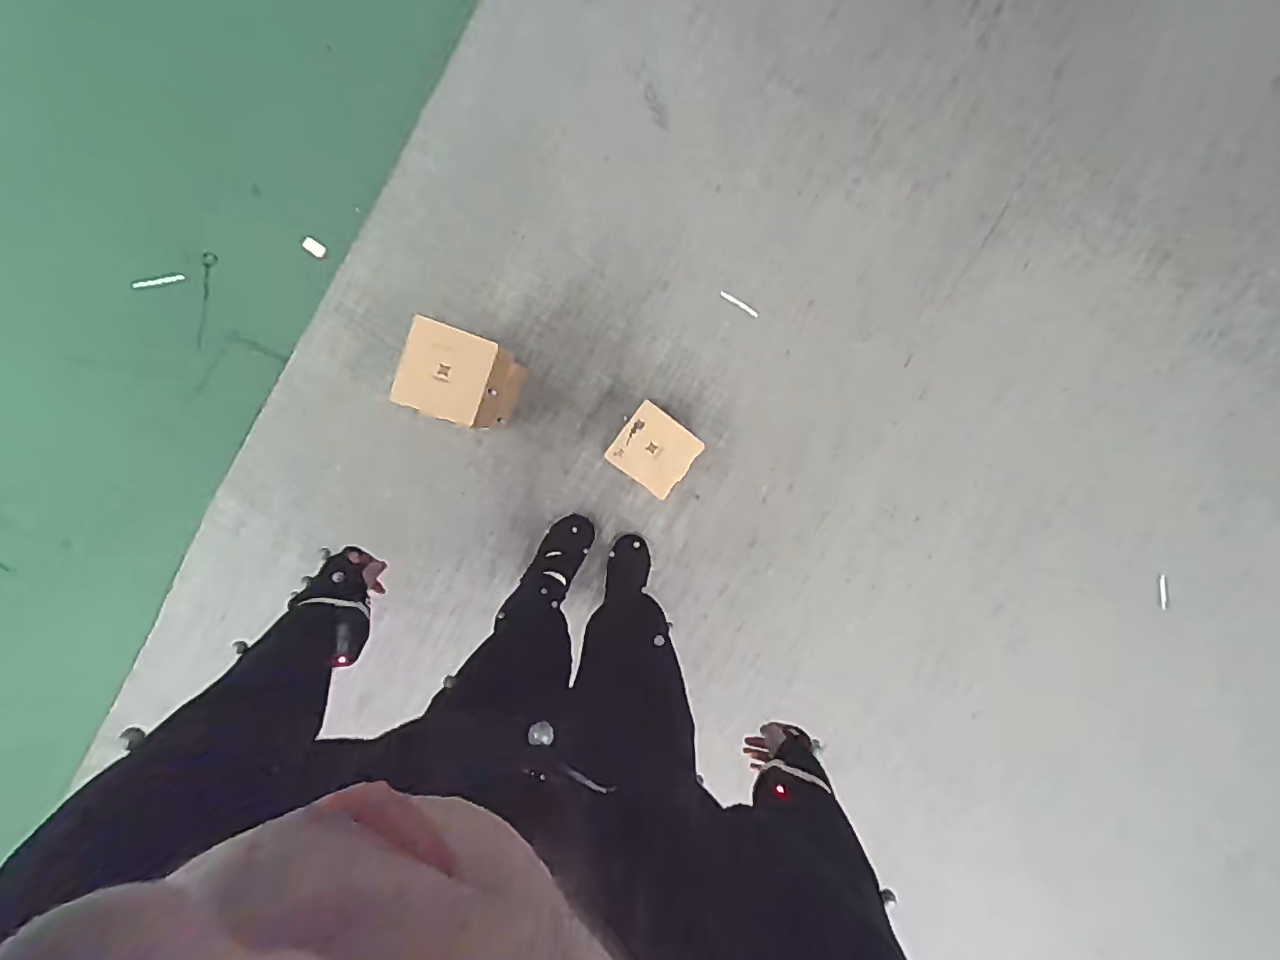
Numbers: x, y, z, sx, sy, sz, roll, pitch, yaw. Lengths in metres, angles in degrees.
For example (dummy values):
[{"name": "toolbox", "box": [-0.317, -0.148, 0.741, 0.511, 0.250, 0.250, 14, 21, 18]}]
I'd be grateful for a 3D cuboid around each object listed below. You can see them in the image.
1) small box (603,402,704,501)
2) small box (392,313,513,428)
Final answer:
[{"name": "small box", "box": [0.028, -0.075, 1.309, 0.179, 0.176, 0.168, 38, 93, -6]}, {"name": "small box", "box": [-0.374, -0.216, 1.113, 0.168, 0.176, 0.179, 21, 95, -5]}]
